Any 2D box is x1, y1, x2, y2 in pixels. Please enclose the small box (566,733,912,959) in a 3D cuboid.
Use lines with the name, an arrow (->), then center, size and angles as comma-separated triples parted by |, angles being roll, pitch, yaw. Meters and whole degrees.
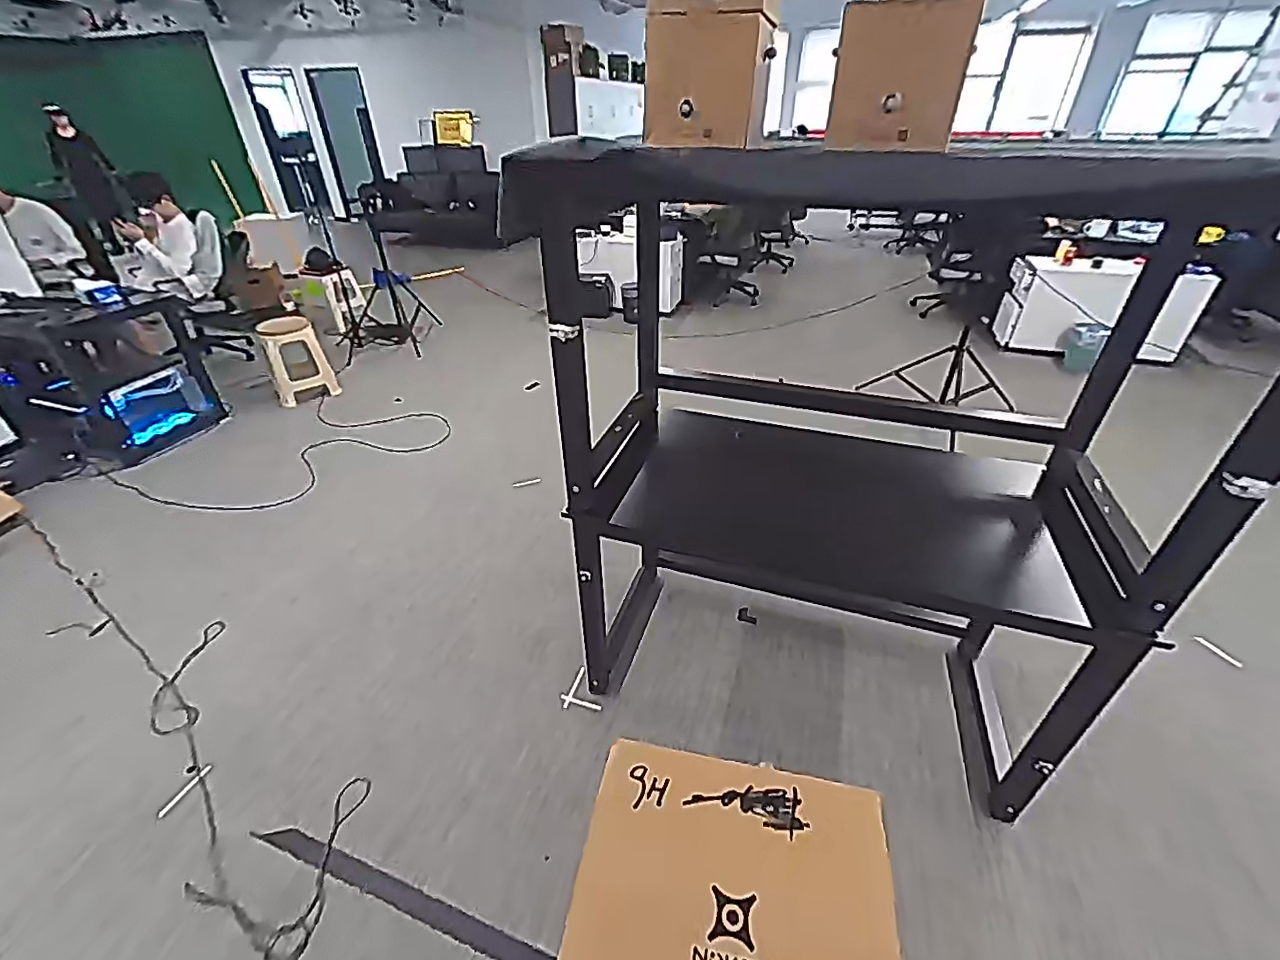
small box -> 0.050, 0.286, 0.318 | 0.168, 0.176, 0.179 | 7, 41, 9

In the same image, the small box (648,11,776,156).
small box -> 0.112, -0.621, 0.859 | 0.168, 0.176, 0.179 | 11, 35, 15

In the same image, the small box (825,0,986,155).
small box -> 0.370, -0.574, 0.782 | 0.168, 0.176, 0.179 | 11, 34, 16
